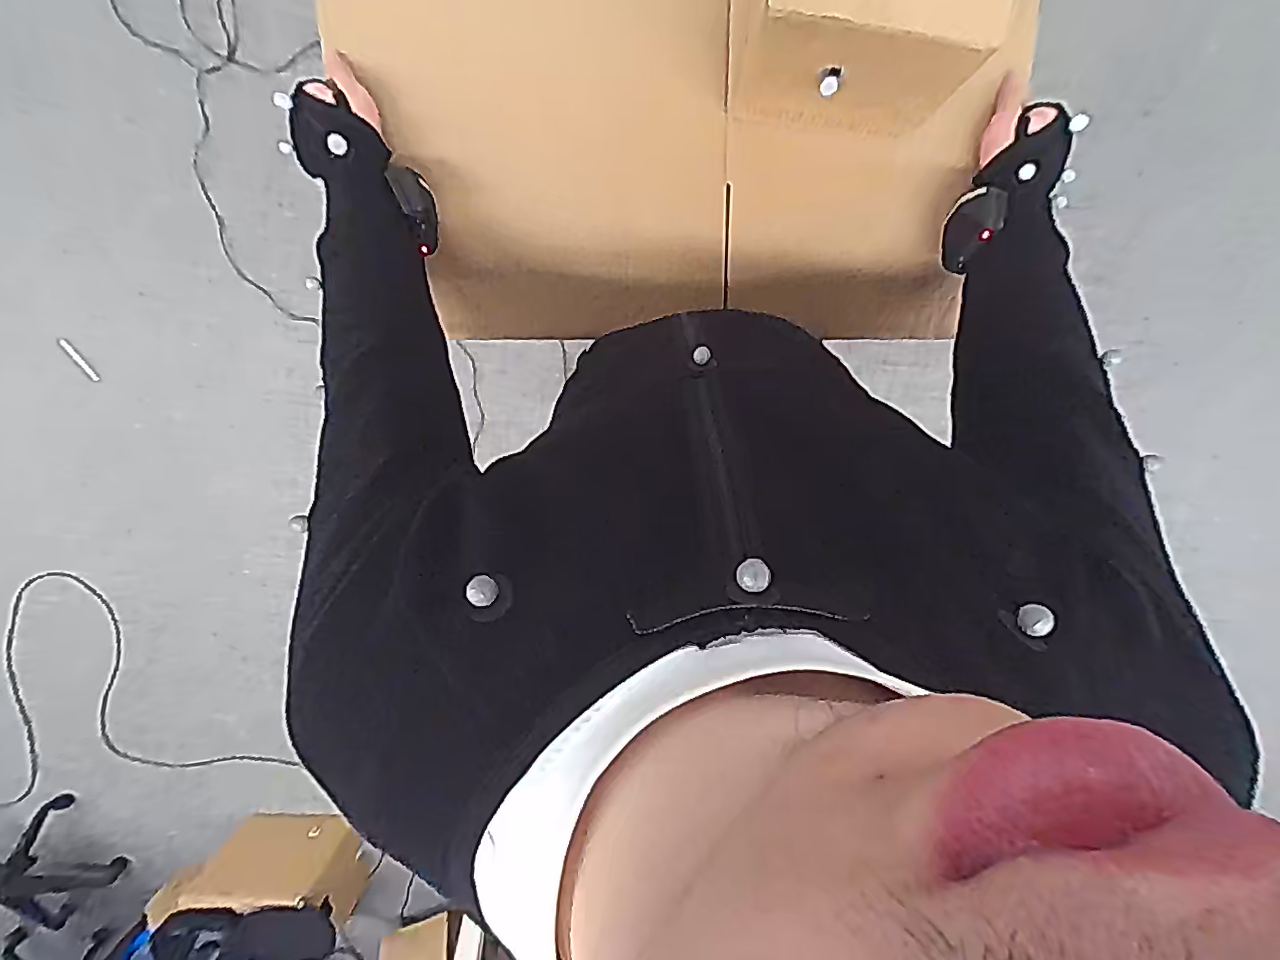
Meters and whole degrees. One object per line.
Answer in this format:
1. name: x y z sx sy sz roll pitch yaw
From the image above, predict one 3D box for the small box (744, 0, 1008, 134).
1. small box: 0.194 -0.427 0.461 0.179 0.176 0.168 10 101 1
